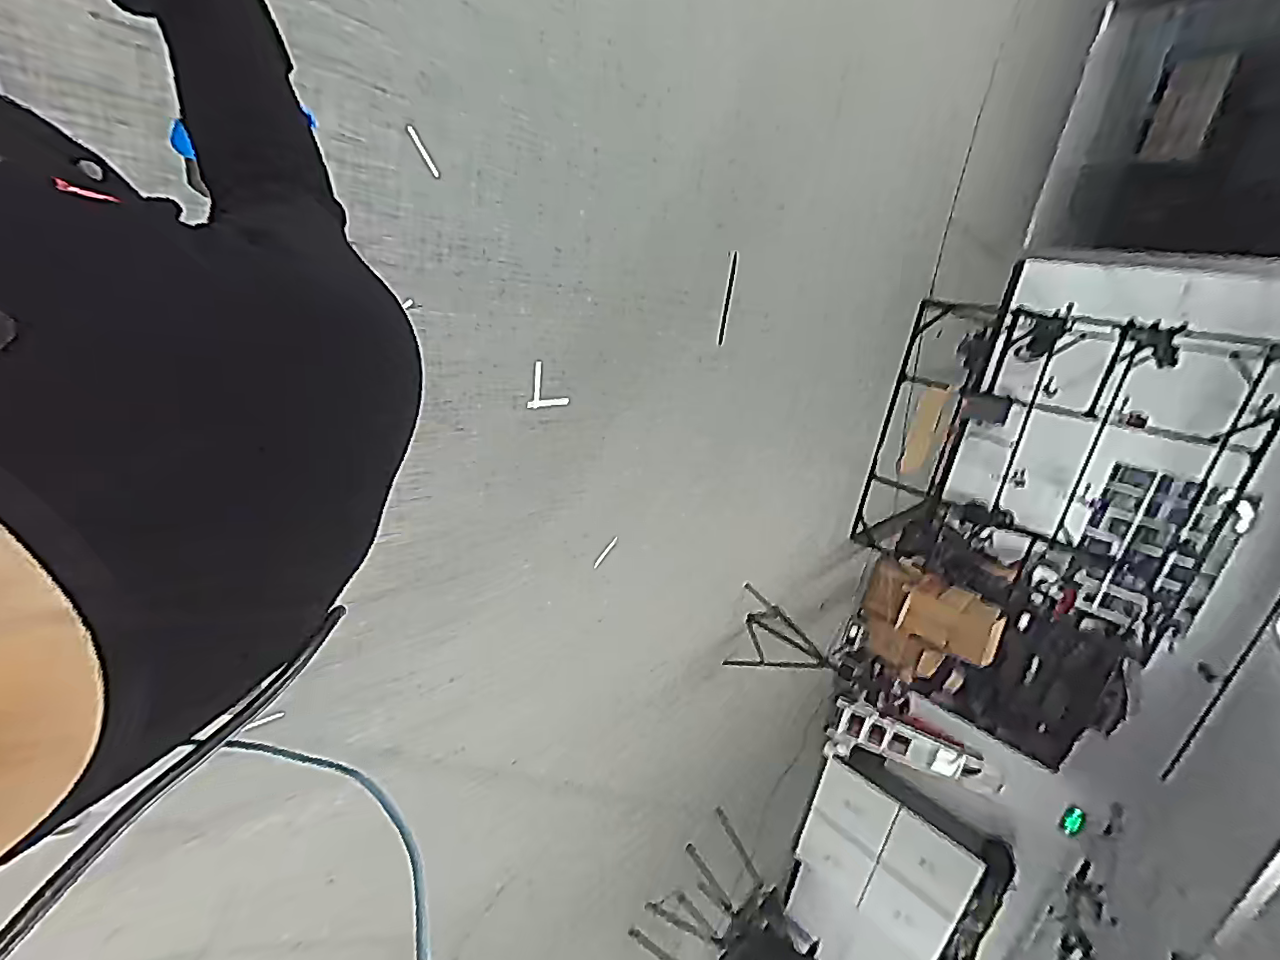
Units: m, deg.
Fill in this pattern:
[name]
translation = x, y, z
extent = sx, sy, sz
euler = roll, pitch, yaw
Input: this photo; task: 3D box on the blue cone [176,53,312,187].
[blue cone]
translation = -0.689, -0.667, 0.996
extent = 0.193, 0.380, 0.192
euler = 19, 95, -52
